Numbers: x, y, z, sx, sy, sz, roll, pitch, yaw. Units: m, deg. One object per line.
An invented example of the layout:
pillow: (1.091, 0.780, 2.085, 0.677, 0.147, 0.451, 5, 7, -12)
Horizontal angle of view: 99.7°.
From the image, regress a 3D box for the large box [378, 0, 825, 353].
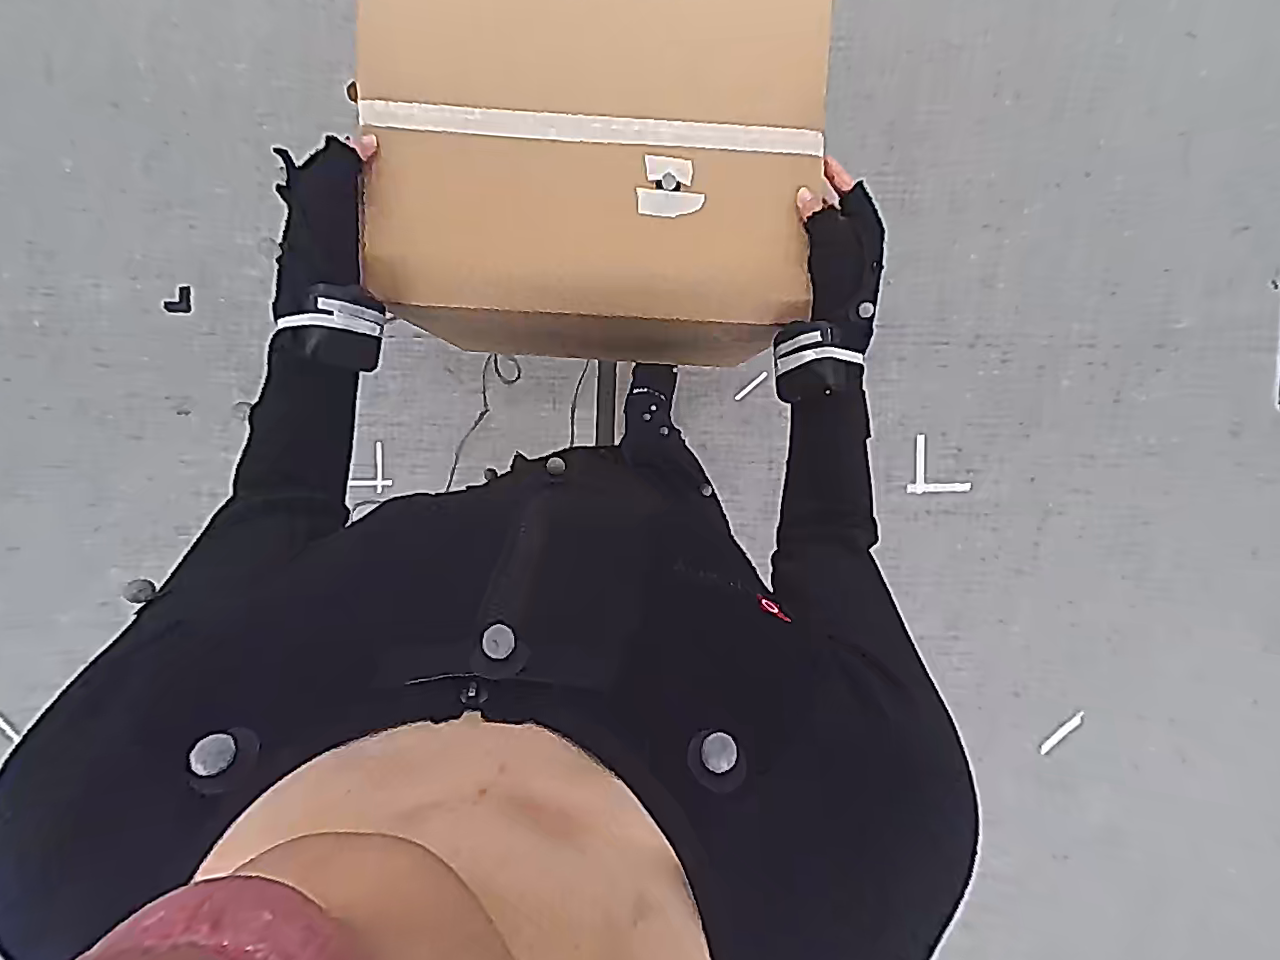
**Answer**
large box: (-0.043, -0.332, 0.638, 0.408, 0.320, 0.320, 2, 96, -3)
